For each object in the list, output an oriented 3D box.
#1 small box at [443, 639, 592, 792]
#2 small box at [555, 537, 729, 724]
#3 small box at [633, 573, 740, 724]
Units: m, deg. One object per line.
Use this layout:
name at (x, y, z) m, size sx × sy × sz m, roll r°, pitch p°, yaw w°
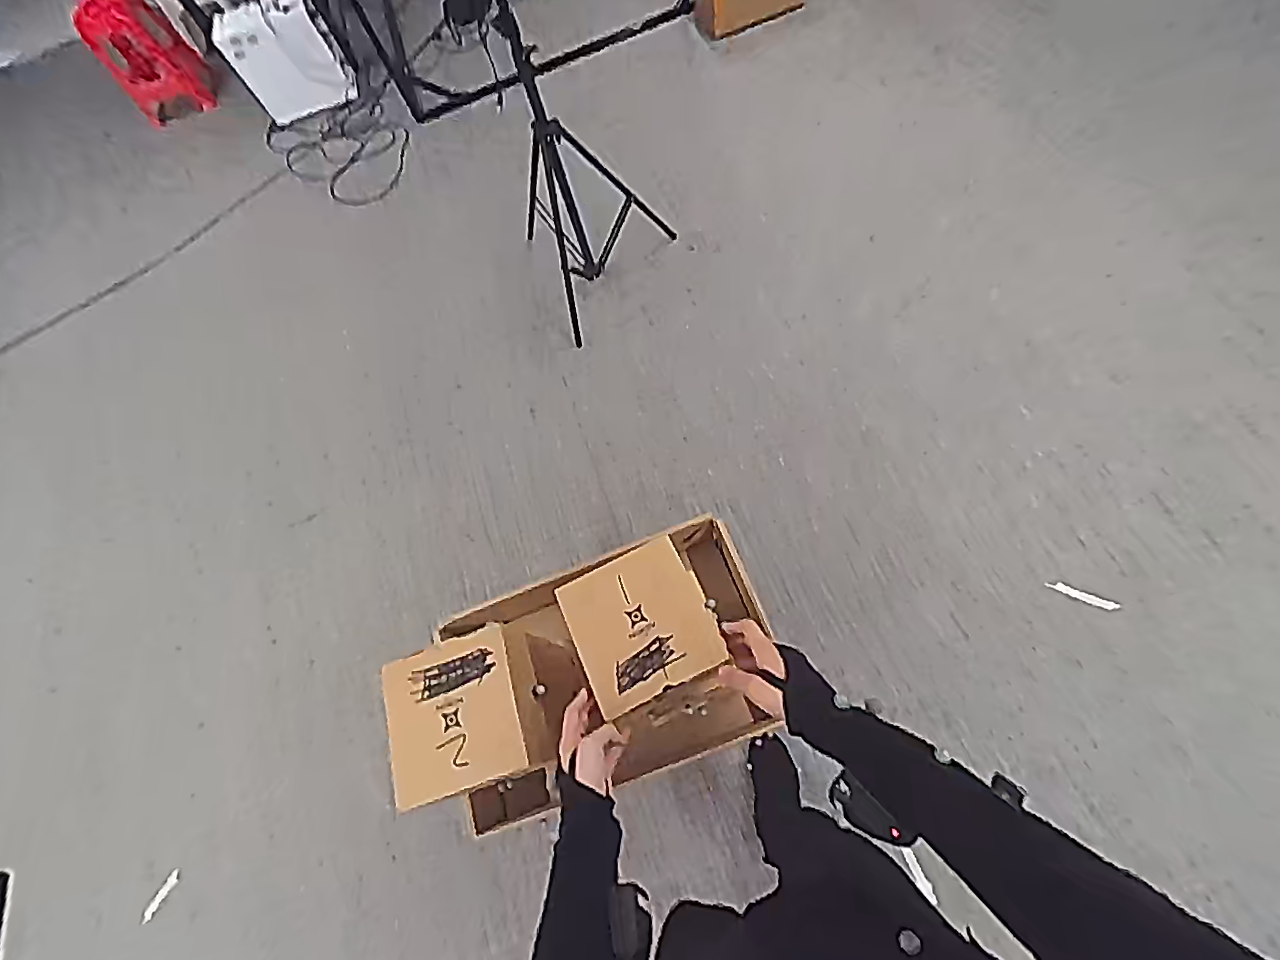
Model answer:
small box at (-0.194, 0.381, 0.879) m, size 0.168 × 0.176 × 0.179 m, roll -22°, pitch 64°, yaw 2°
small box at (0.011, 0.207, 0.733) m, size 0.168 × 0.176 × 0.179 m, roll -27°, pitch 65°, yaw -1°
small box at (0.050, 0.277, 0.877) m, size 0.168 × 0.176 × 0.179 m, roll -24°, pitch 66°, yaw 0°
